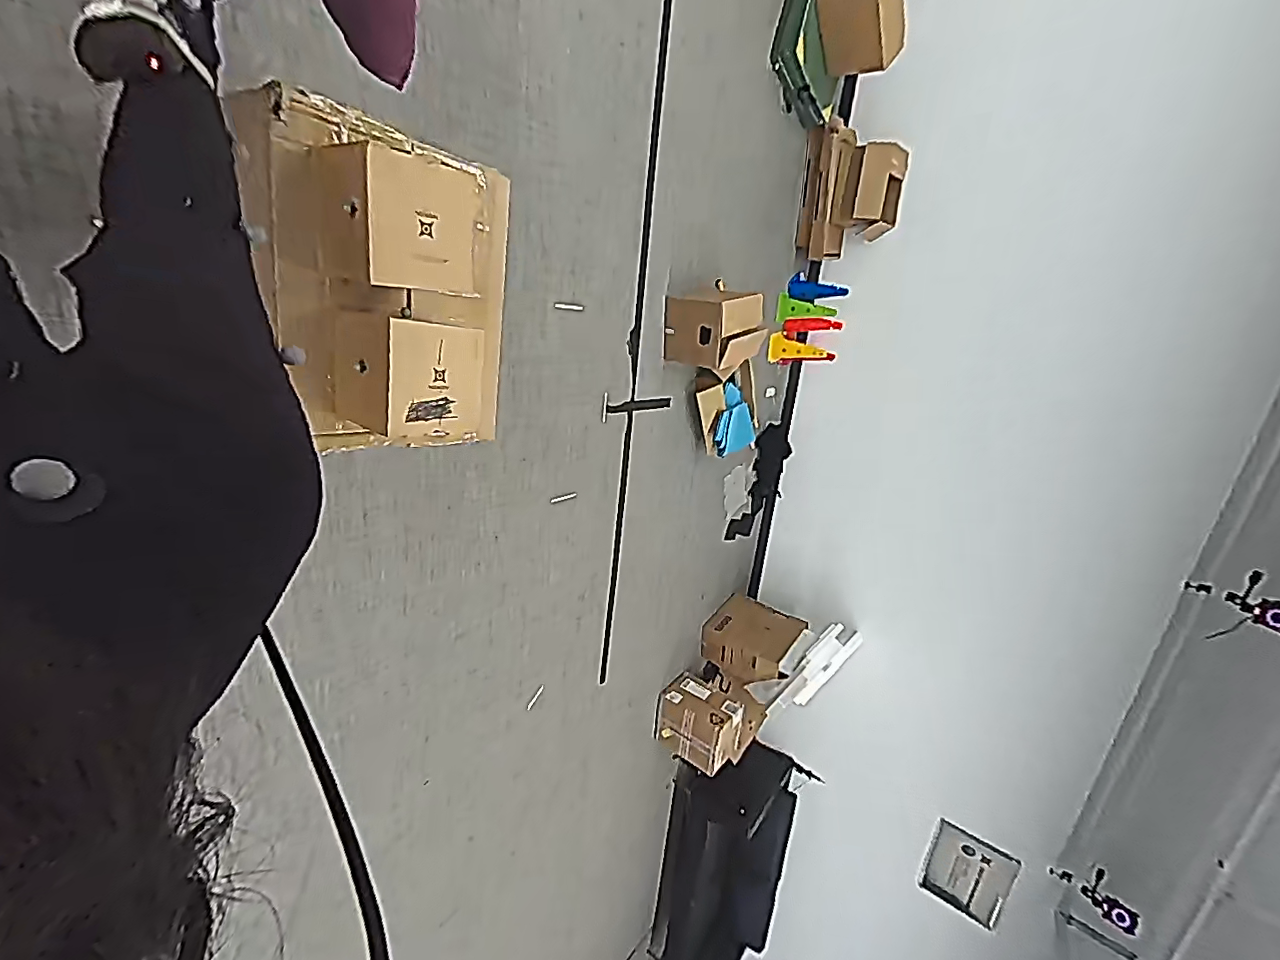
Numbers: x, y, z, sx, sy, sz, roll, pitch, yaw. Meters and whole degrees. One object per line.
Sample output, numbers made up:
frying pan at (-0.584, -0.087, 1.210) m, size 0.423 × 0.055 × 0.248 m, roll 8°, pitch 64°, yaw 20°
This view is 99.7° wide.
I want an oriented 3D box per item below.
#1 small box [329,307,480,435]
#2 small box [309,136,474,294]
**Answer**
small box at (-0.386, -0.177, 0.884) m, size 0.168 × 0.176 × 0.179 m, roll -10°, pitch 112°, yaw -53°
small box at (-0.371, -0.386, 0.807) m, size 0.168 × 0.176 × 0.179 m, roll -14°, pitch 119°, yaw -51°
